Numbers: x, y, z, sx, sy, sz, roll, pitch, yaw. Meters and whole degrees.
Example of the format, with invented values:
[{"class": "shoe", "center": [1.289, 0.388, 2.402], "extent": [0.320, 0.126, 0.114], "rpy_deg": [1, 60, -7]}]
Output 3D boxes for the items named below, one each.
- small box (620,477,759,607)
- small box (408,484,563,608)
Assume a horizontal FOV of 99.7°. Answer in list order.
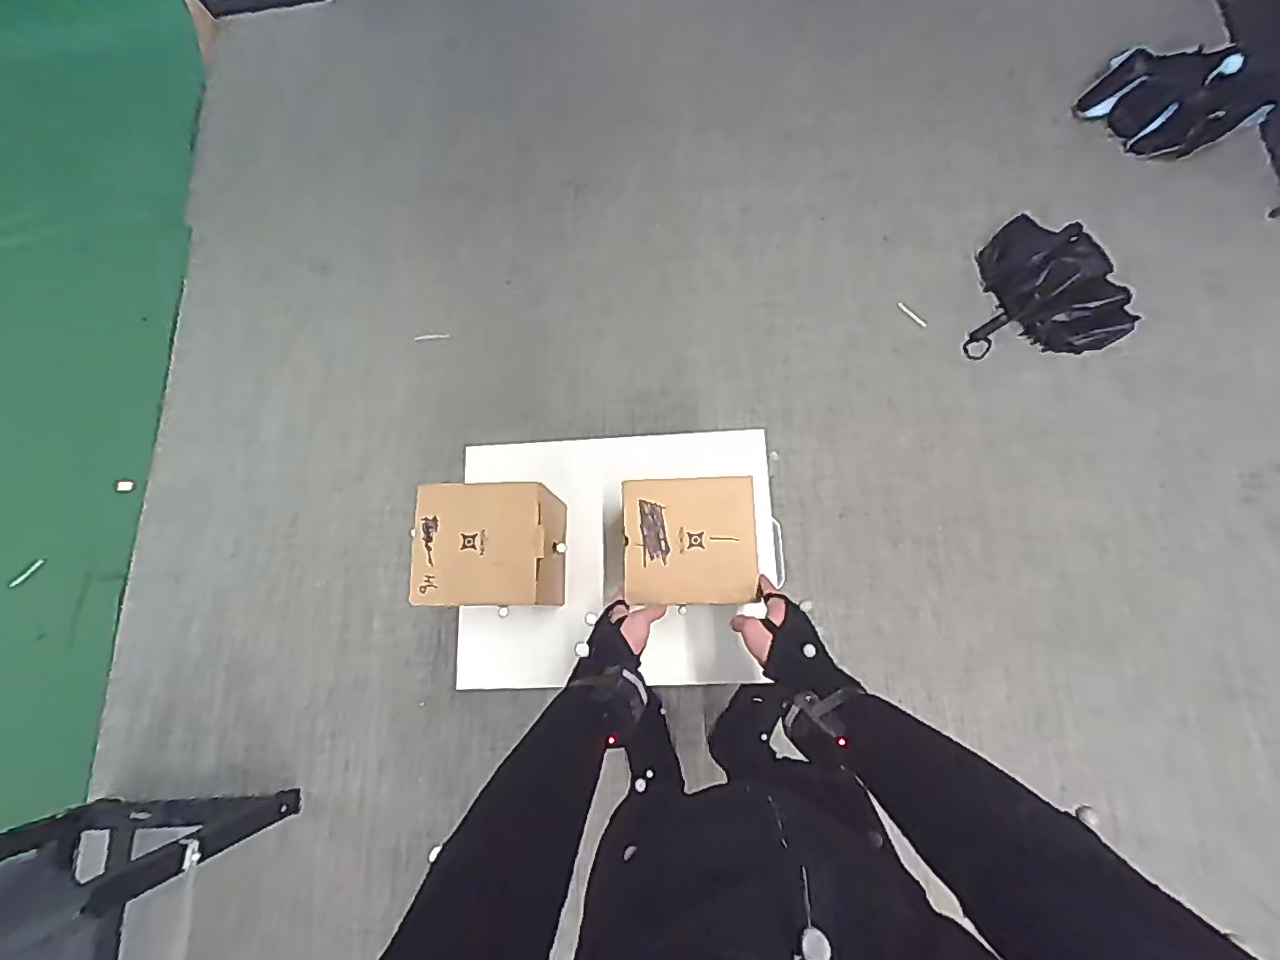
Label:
[{"class": "small box", "center": [0.069, 0.095, 0.769], "extent": [0.179, 0.176, 0.168], "rpy_deg": [-2, 77, 5]}, {"class": "small box", "center": [-0.214, 0.102, 0.796], "extent": [0.179, 0.176, 0.168], "rpy_deg": [-2, 77, 3]}]
